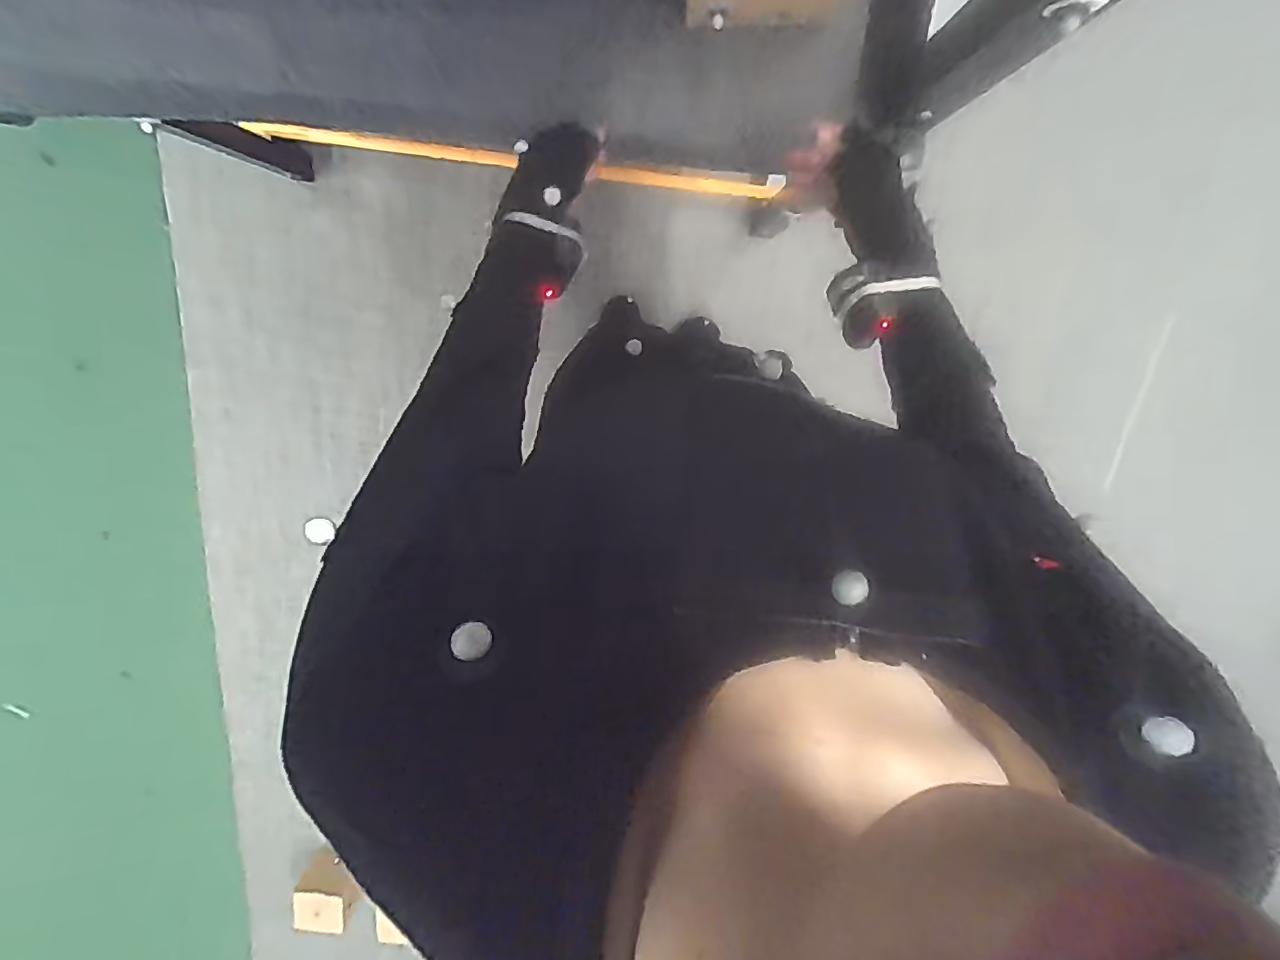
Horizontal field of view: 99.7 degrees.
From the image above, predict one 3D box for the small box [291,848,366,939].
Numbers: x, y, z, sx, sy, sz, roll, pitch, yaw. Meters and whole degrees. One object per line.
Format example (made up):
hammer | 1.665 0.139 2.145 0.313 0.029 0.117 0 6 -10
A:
small box | -1.072 1.426 1.870 0.168 0.176 0.179 9 105 -1
